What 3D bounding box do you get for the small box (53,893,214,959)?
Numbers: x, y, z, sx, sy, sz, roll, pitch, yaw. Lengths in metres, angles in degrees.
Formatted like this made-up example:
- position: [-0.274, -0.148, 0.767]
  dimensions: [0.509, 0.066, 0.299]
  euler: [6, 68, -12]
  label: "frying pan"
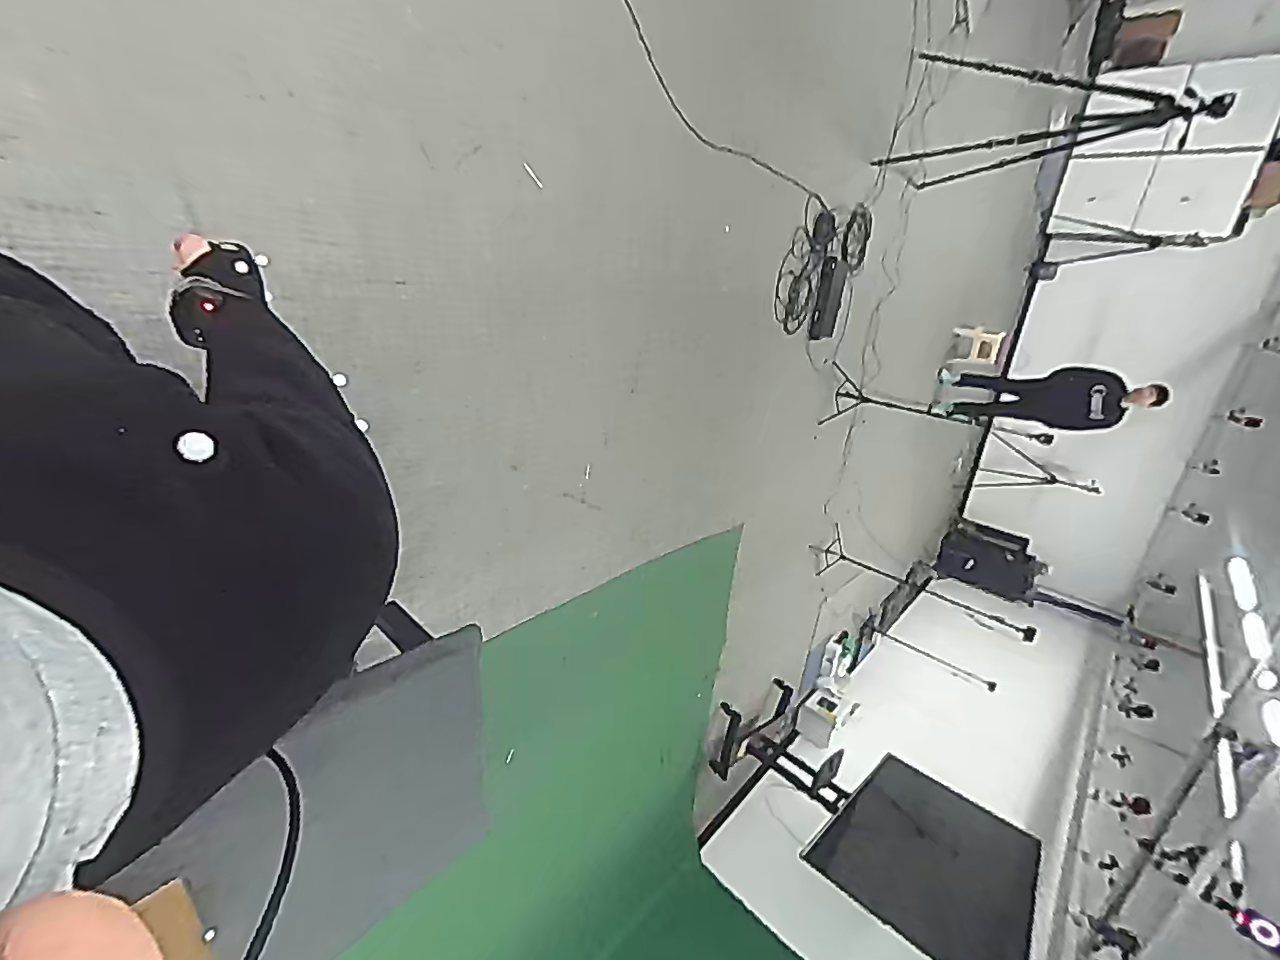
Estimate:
- position: [-0.704, 0.735, 0.757]
  dimensions: [0.168, 0.176, 0.179]
  euler: [-20, 123, -43]
  label: "small box"
